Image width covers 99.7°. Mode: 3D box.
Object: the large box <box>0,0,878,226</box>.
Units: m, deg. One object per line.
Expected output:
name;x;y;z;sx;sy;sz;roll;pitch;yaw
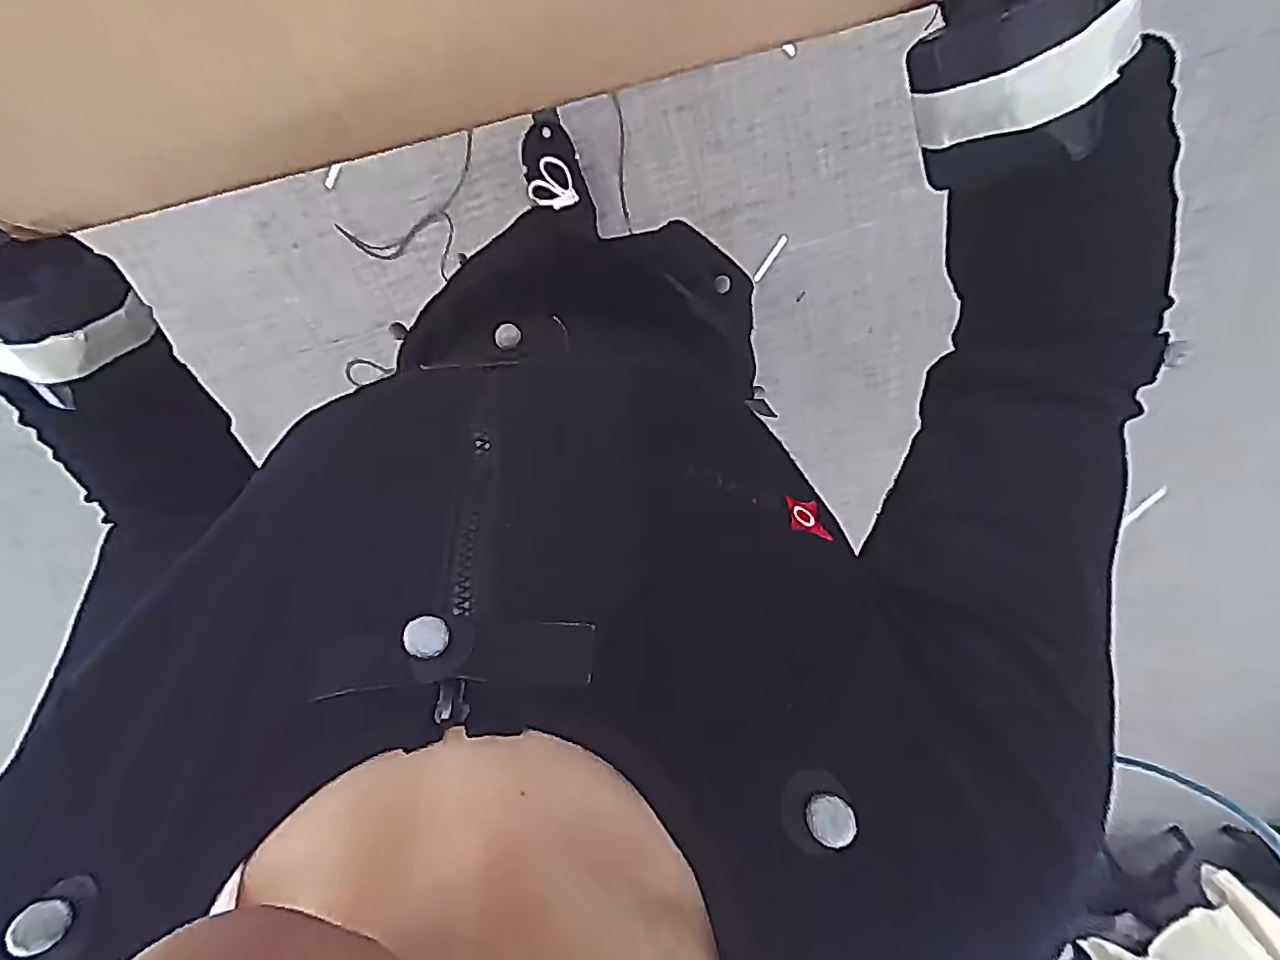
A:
large box;-0.123;-0.361;0.200;0.408;0.320;0.320;-10;142;6
